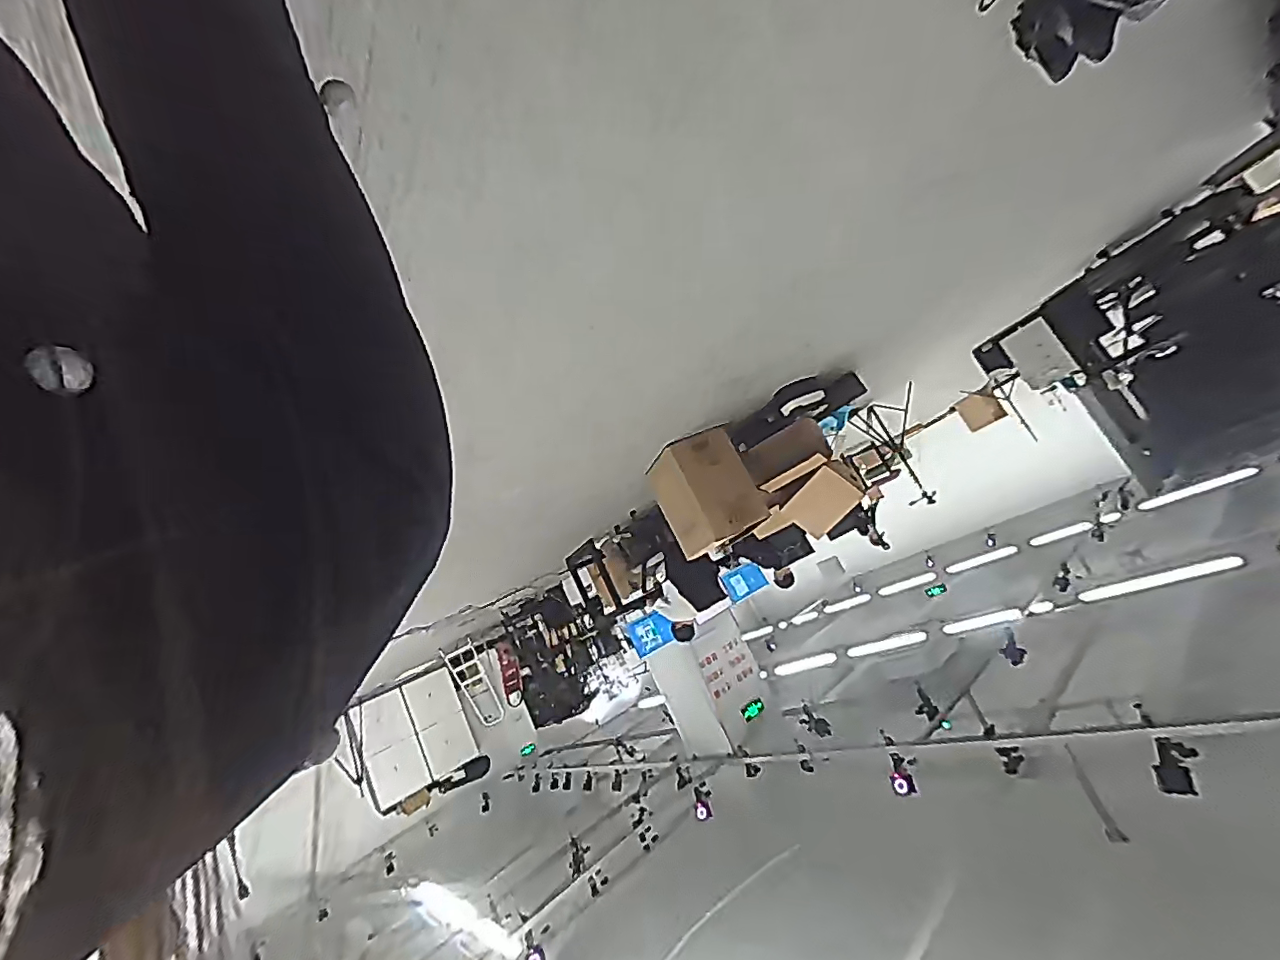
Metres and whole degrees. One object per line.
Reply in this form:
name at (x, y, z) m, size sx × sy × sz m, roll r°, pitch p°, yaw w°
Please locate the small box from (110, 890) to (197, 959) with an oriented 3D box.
small box at (-1.518, 1.430, 1.688) m, size 0.179 × 0.176 × 0.168 m, roll -16°, pitch 164°, yaw -39°
